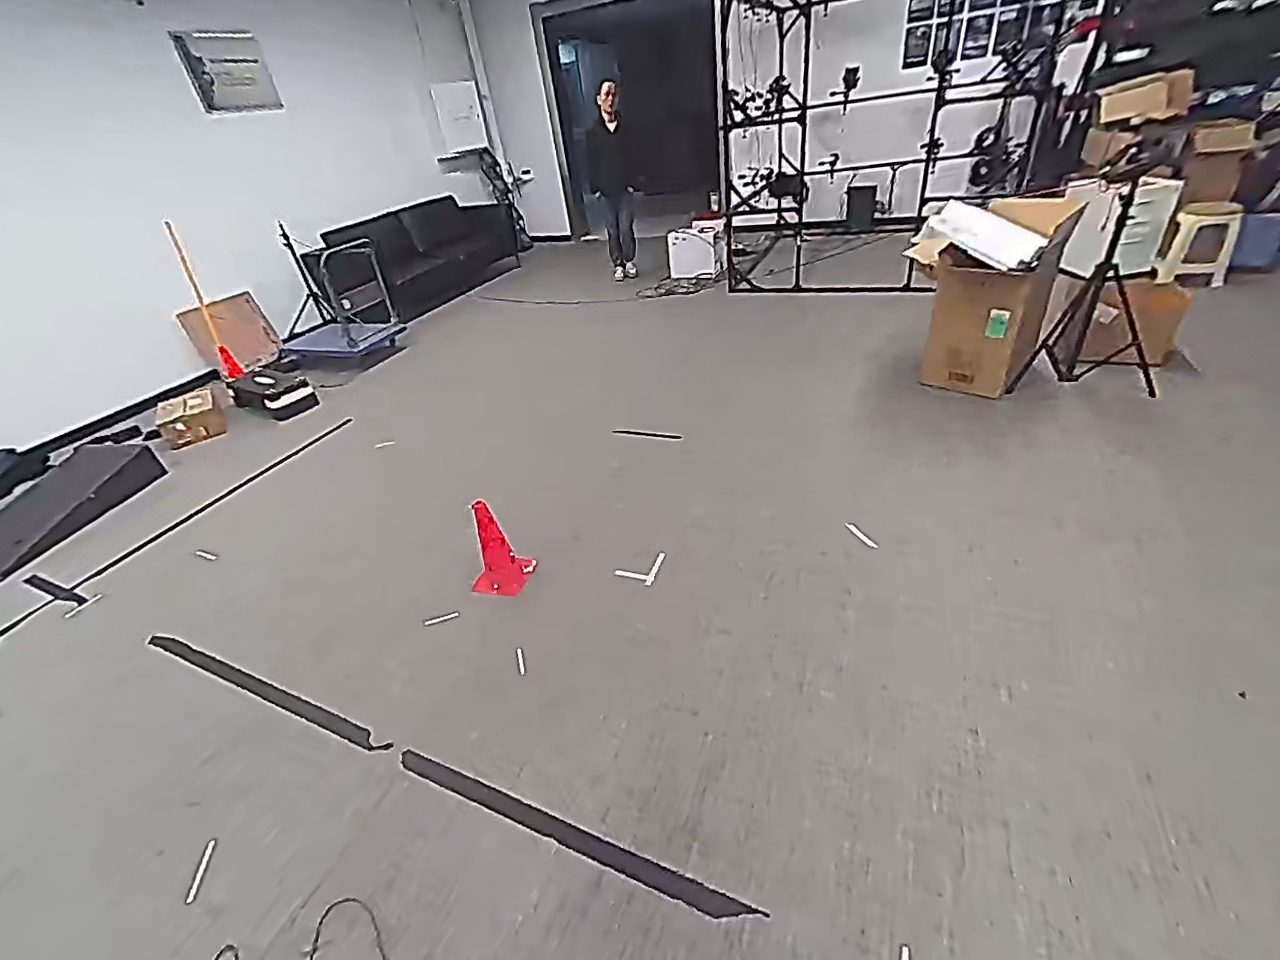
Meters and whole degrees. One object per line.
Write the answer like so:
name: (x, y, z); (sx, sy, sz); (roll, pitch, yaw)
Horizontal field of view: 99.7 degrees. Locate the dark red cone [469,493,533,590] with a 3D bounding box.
dark red cone: (-0.551, 0.213, 1.989); (0.202, 0.394, 0.201); (3, 37, 17)
